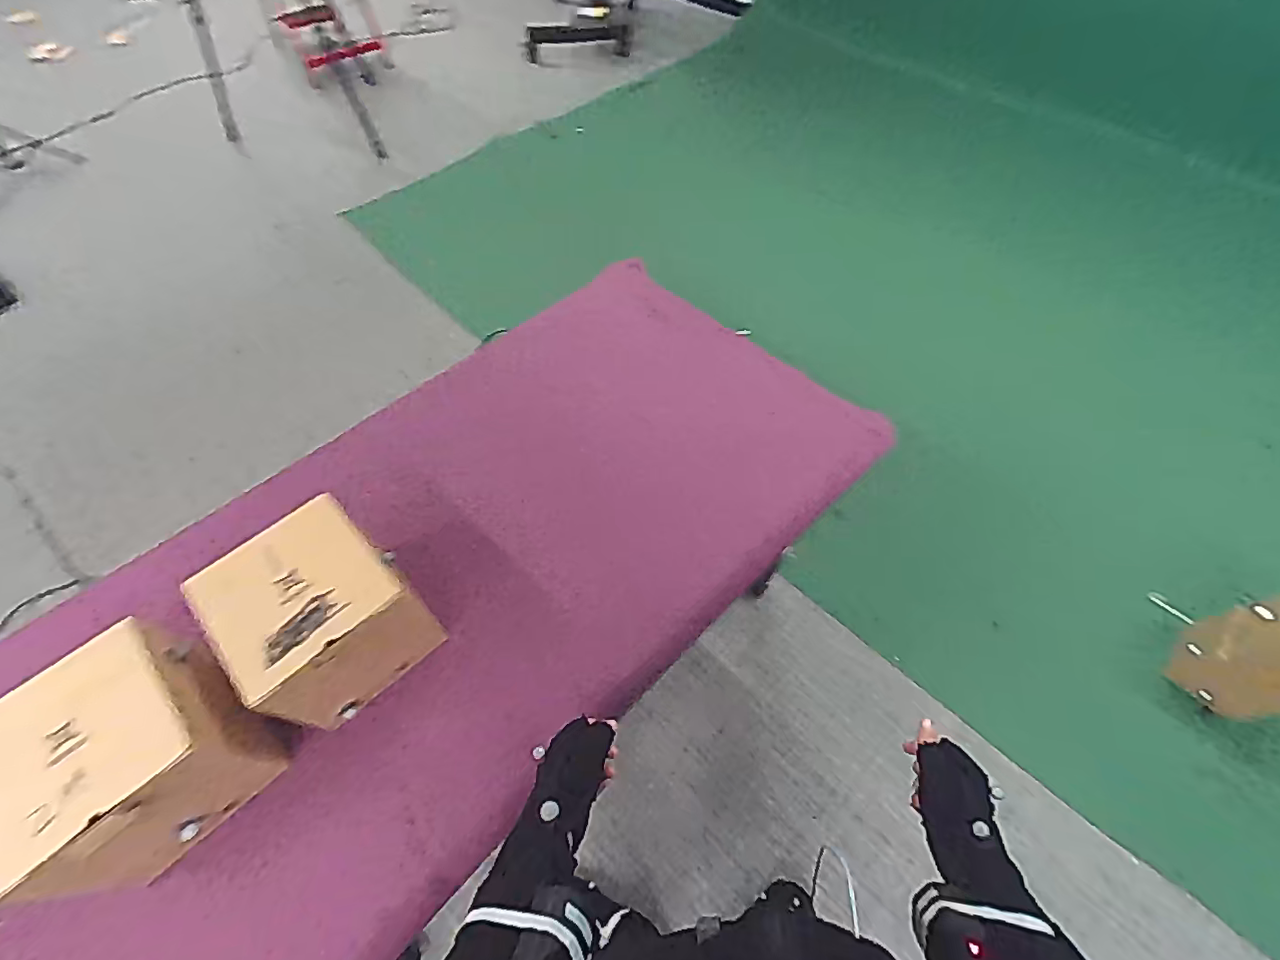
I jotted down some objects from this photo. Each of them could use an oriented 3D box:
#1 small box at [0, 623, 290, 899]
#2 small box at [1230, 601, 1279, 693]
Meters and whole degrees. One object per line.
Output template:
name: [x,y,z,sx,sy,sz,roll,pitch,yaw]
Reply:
small box: [-0.521,0.290,0.569,0.168,0.176,0.179,-40,66,-21]
small box: [1.451,0.369,1.160,0.179,0.176,0.168,39,66,21]
